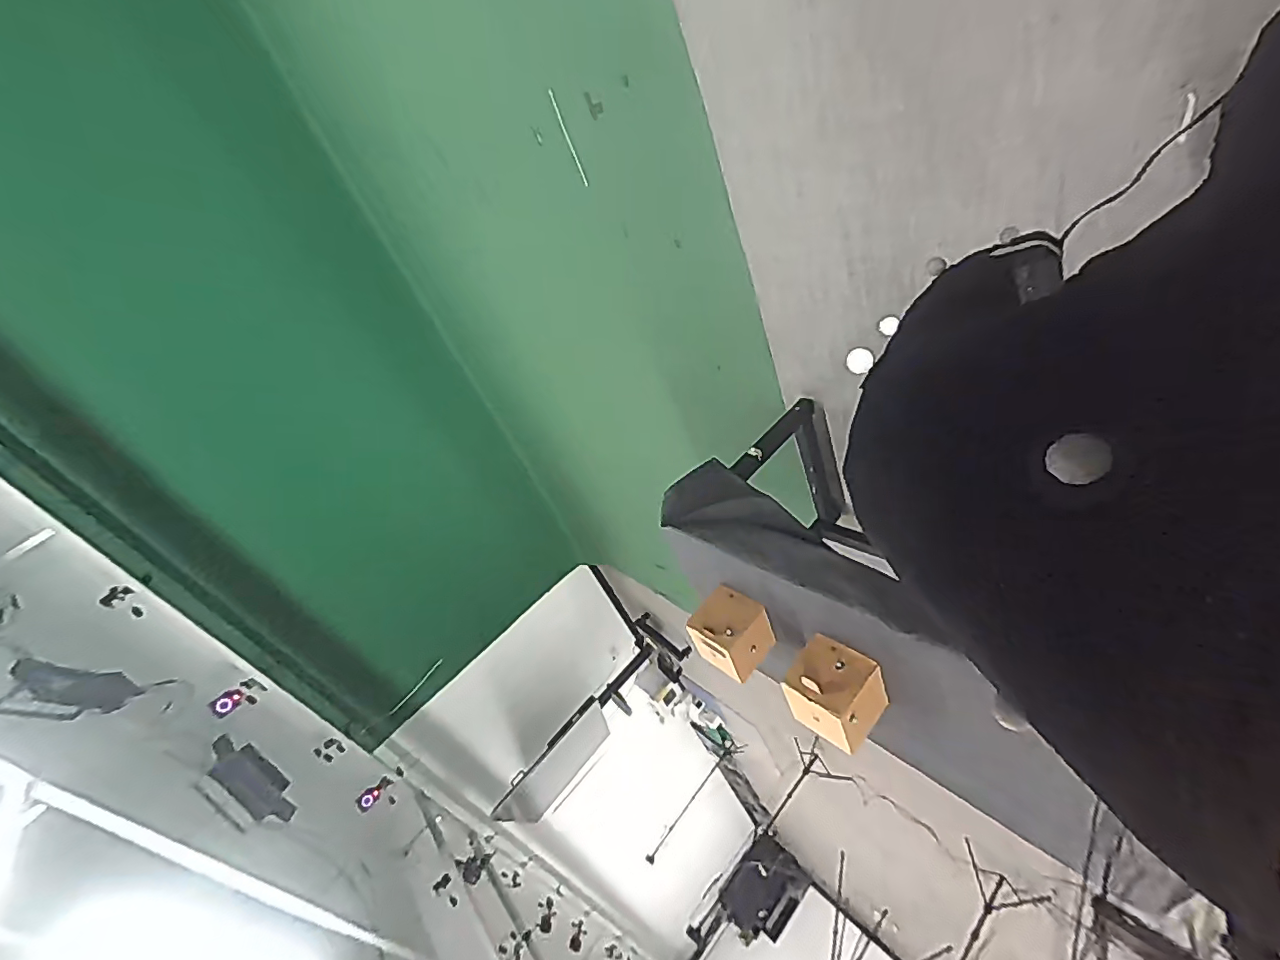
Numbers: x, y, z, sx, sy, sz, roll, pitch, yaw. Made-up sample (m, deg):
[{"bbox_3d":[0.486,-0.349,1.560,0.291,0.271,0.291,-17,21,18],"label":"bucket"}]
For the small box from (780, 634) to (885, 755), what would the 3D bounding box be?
[{"bbox_3d":[0.474,0.516,1.317,0.168,0.176,0.179,20,144,49],"label":"small box"}]
